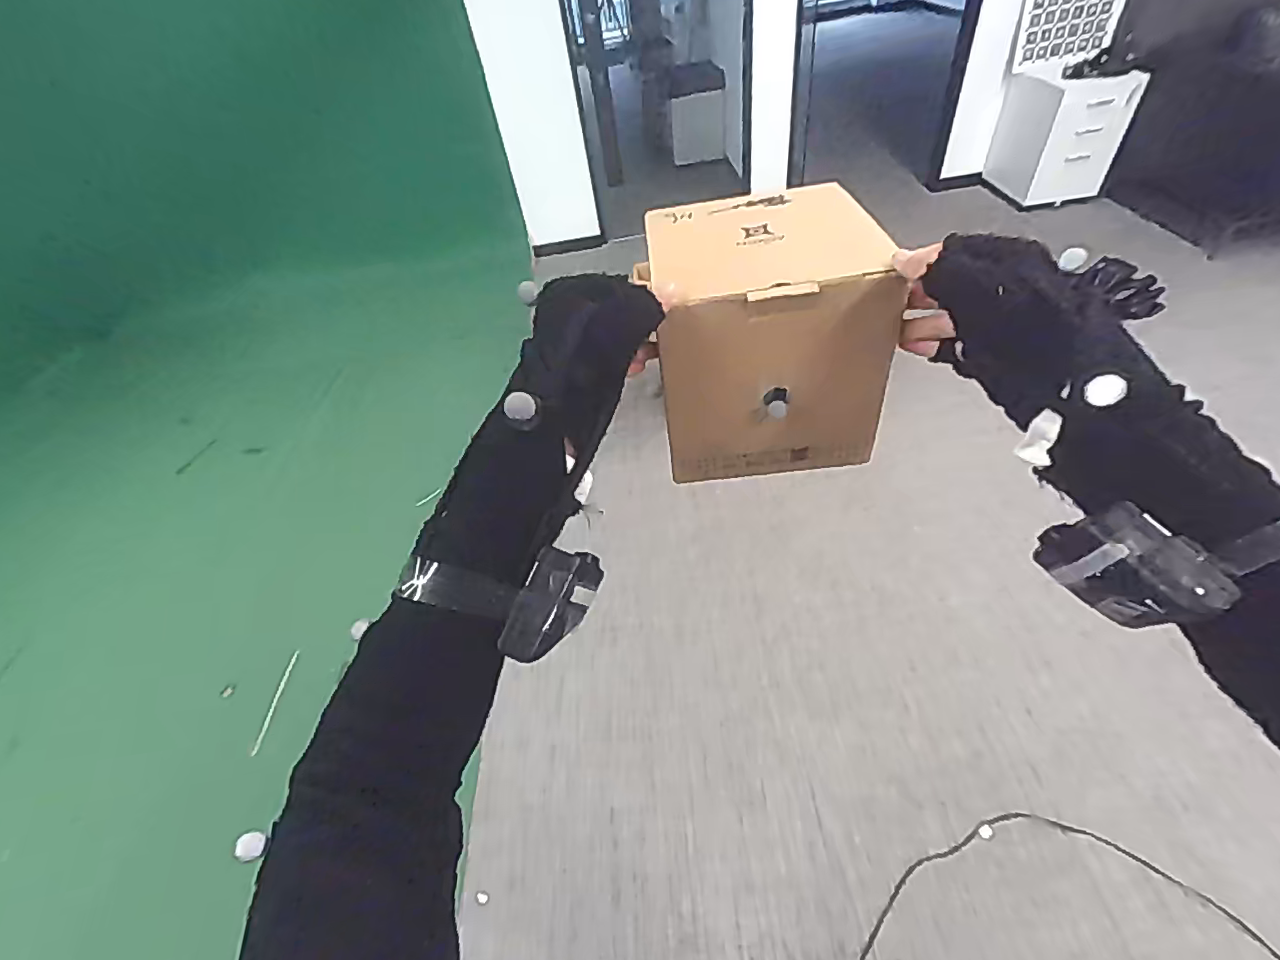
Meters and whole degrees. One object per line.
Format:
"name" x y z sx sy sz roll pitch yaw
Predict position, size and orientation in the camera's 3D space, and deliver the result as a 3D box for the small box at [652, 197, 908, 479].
"small box" 0.103 -0.114 0.464 0.168 0.176 0.179 -6 44 5
